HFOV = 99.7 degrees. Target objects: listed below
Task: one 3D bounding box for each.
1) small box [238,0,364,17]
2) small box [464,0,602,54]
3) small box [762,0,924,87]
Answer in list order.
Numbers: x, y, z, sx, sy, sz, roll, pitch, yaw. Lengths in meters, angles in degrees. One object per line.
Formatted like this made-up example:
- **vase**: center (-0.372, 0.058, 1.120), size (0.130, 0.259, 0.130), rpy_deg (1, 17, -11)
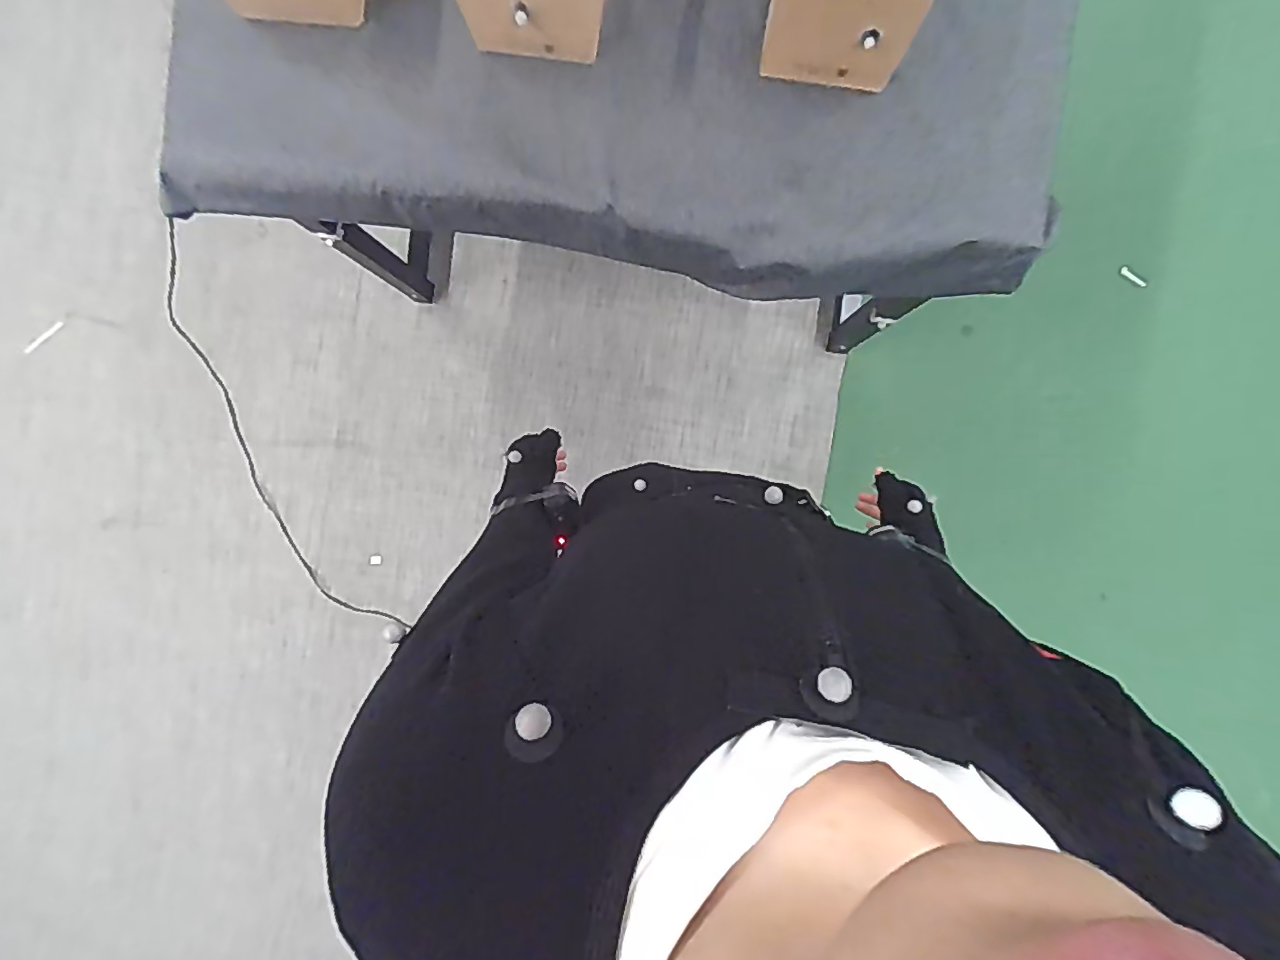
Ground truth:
- **small box**: center (-0.458, -0.715, 0.658), size (0.179, 0.176, 0.168), rpy_deg (6, 92, 1)
- **small box**: center (-0.131, -0.662, 0.649), size (0.168, 0.176, 0.179), rpy_deg (8, 92, 2)
- **small box**: center (0.249, -0.613, 0.638), size (0.168, 0.176, 0.179), rpy_deg (10, 91, 1)
